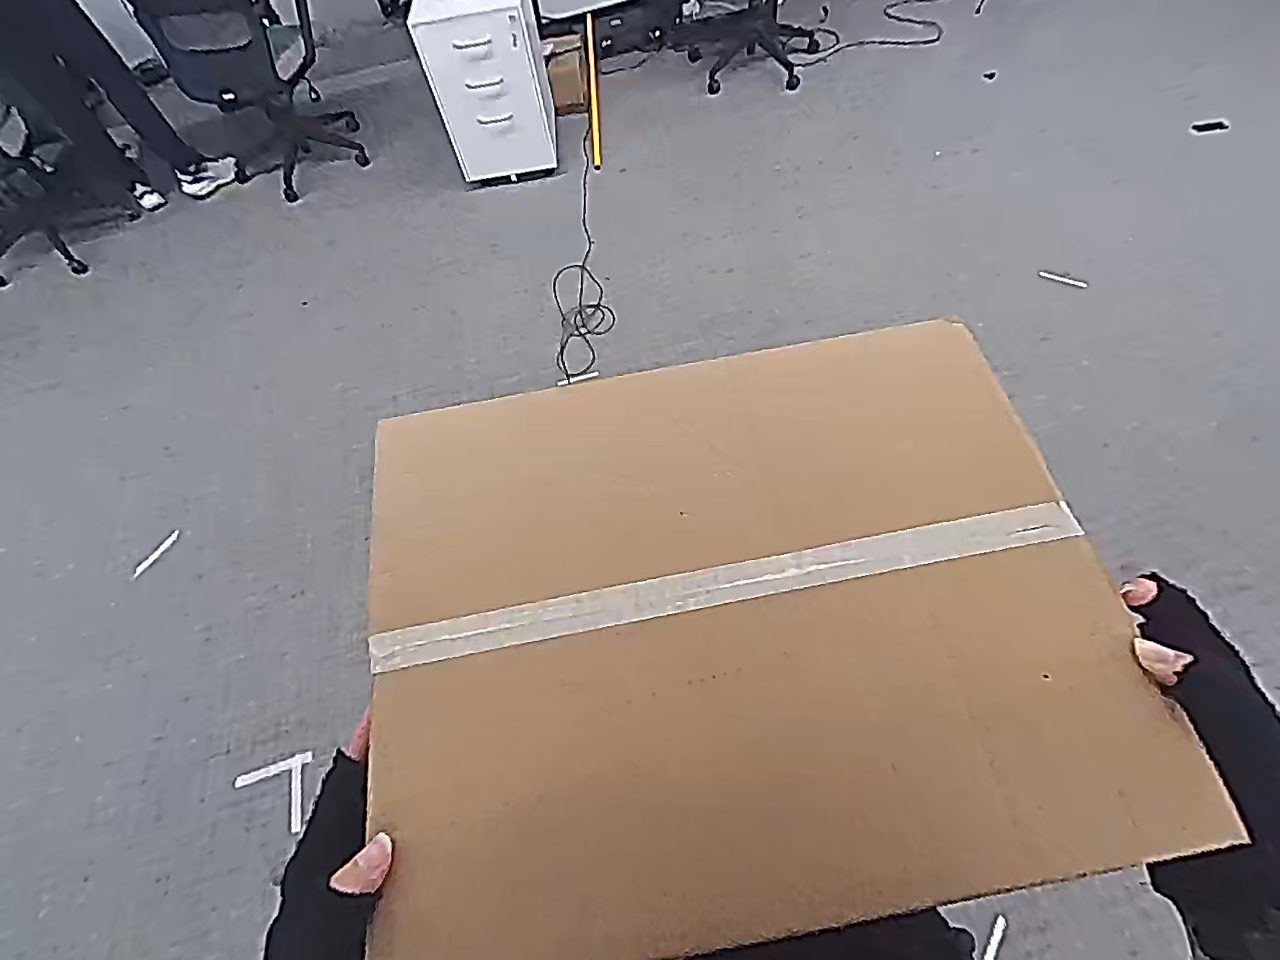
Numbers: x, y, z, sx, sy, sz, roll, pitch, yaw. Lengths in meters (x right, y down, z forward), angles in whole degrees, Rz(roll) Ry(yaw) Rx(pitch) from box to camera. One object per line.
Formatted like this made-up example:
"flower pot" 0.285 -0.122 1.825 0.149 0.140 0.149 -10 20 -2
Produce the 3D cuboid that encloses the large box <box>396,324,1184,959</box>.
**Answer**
"large box" 0.058 0.122 0.459 0.408 0.320 0.320 -11 66 -1
